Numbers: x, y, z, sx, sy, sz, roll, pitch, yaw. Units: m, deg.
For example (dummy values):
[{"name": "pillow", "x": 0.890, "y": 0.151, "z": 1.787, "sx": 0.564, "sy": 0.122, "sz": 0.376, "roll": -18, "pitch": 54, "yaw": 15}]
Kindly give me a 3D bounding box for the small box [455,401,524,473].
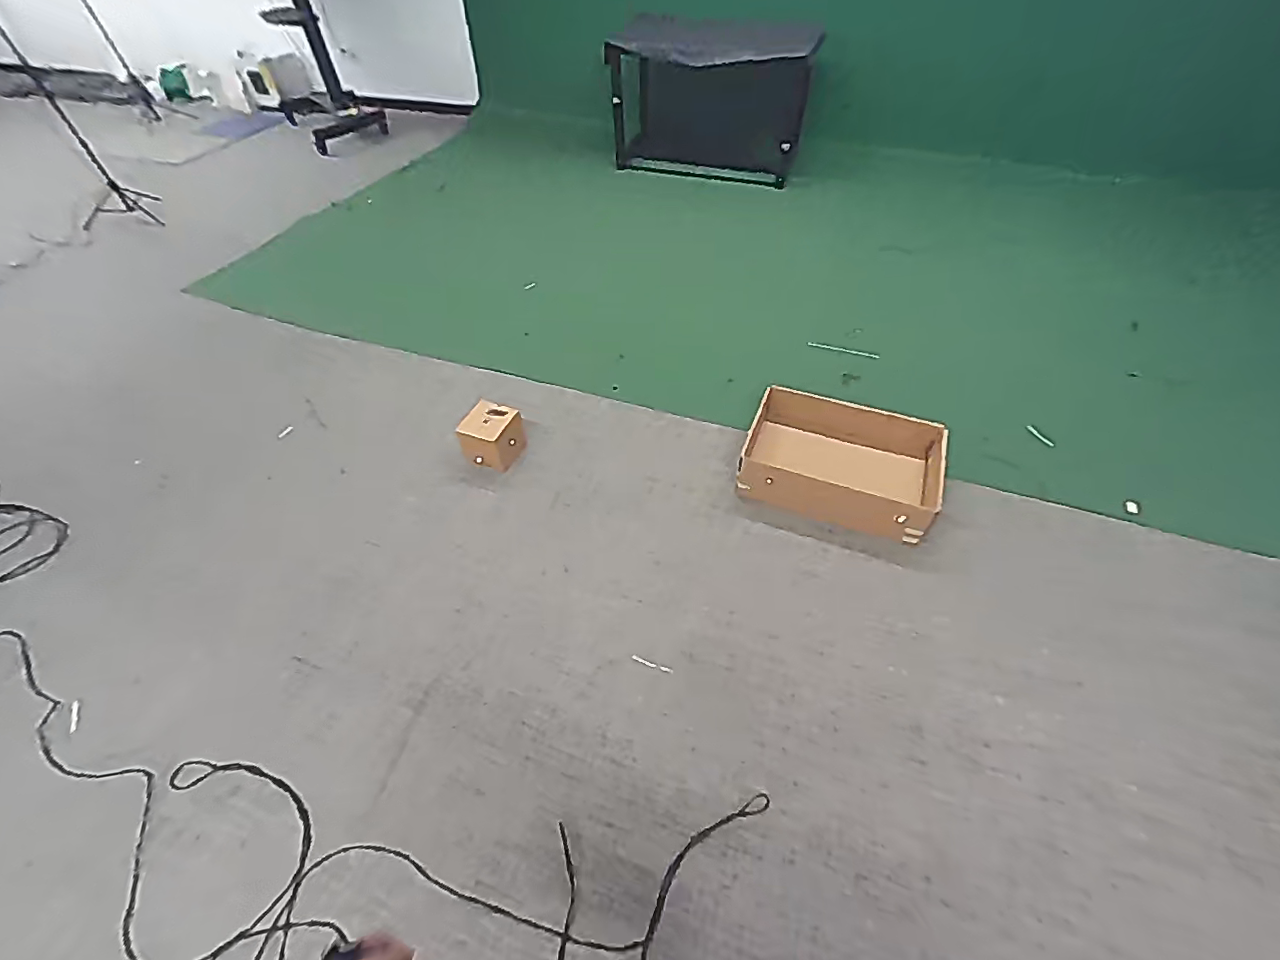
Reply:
[{"name": "small box", "x": -0.541, "y": -0.155, "z": 1.979, "sx": 0.168, "sy": 0.176, "sz": 0.179, "roll": 16, "pitch": 53, "yaw": 15}]
